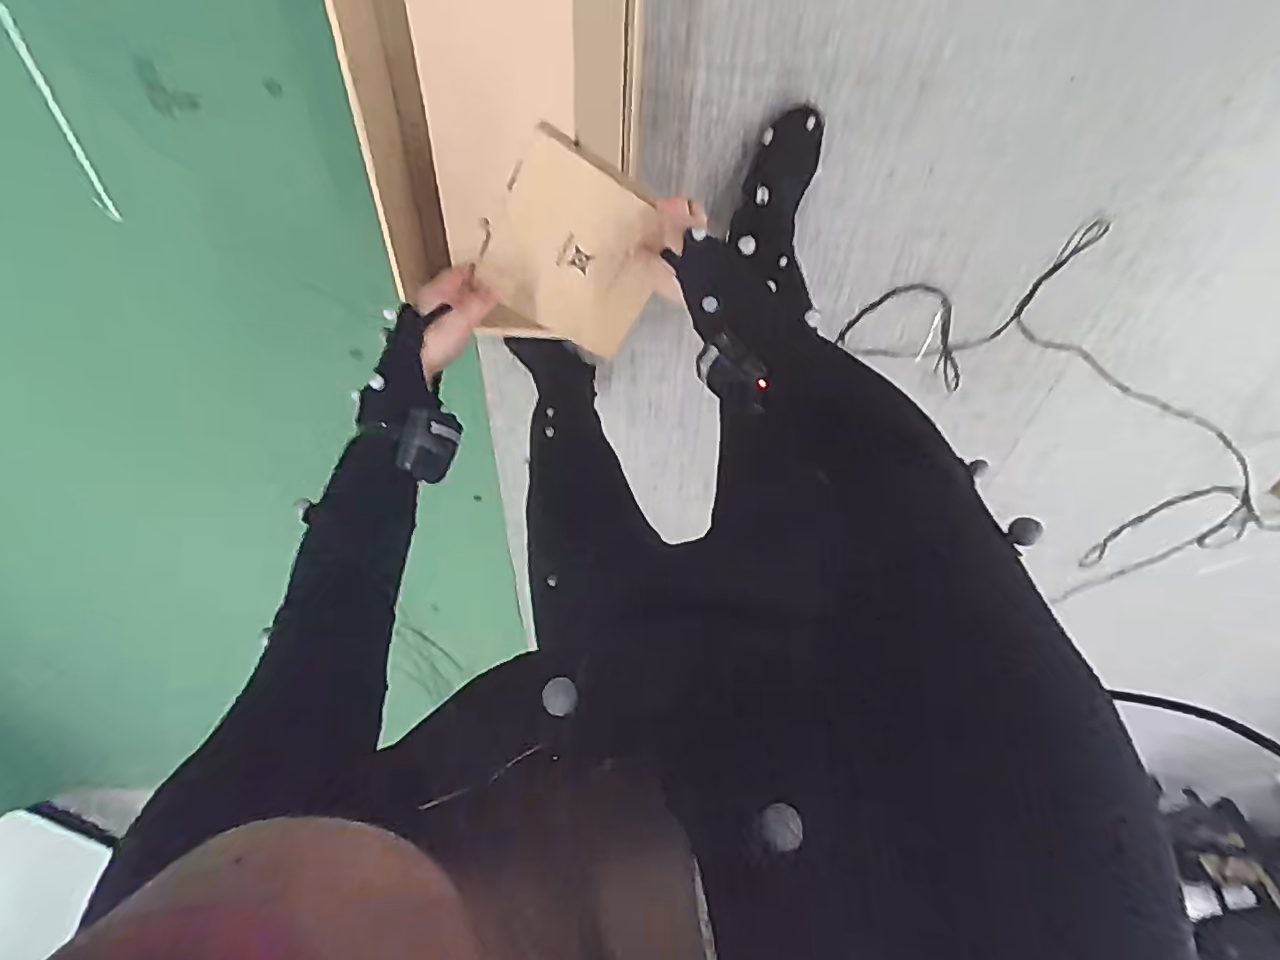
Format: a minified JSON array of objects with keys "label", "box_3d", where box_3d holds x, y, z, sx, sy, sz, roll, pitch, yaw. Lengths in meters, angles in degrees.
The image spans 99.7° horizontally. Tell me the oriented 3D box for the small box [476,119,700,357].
[{"label":"small box","box_3d":[-0.062,-0.273,0.609,0.179,0.176,0.168,22,120,-23]}]
